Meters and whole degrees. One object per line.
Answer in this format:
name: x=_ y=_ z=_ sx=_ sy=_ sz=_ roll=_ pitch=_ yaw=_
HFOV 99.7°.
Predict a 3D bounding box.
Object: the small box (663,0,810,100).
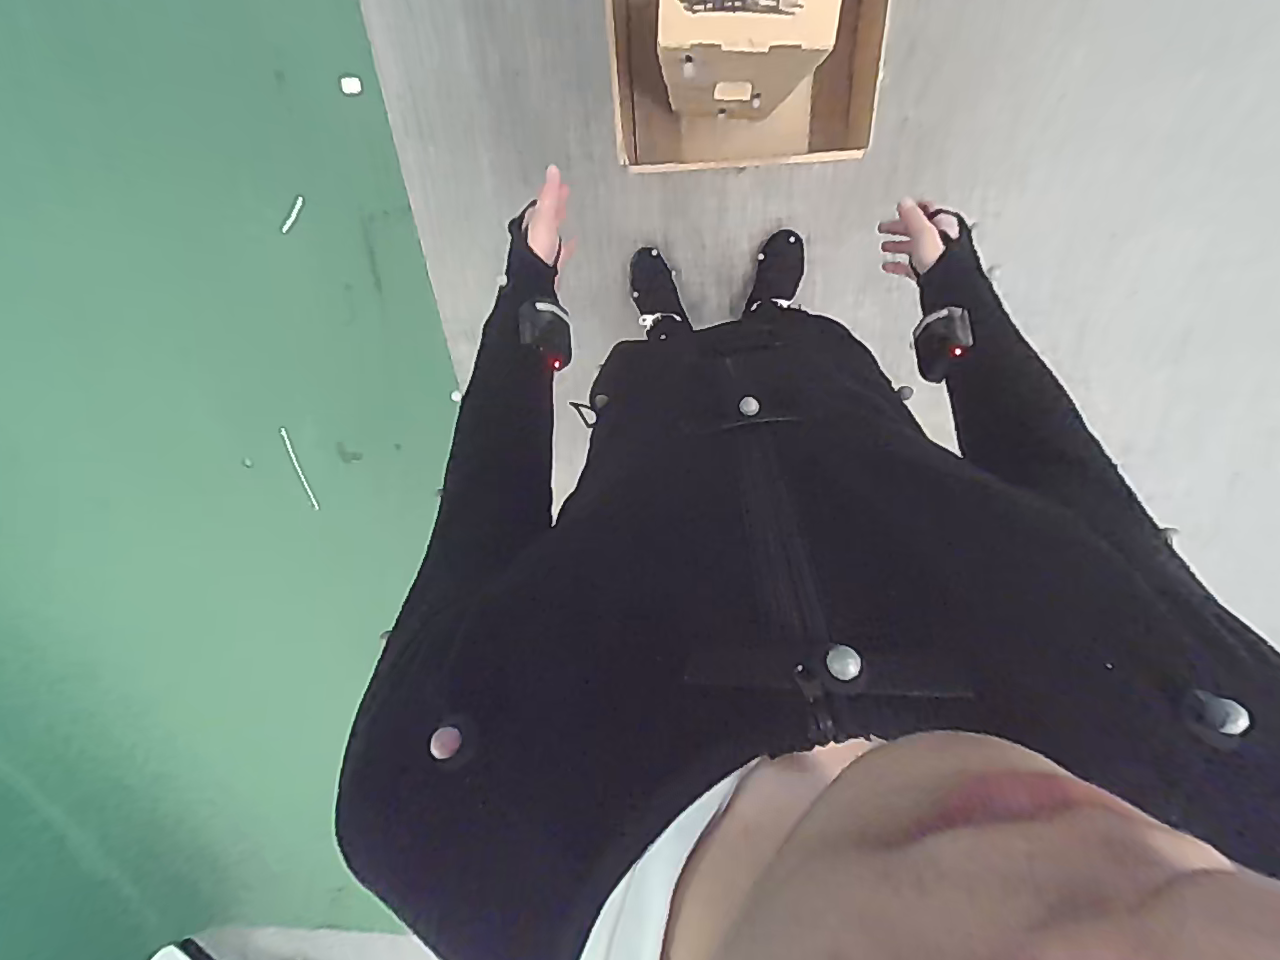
small box: x=0.120 y=-0.594 z=0.678 sx=0.168 sy=0.176 sz=0.179 roll=4 pitch=117 yaw=3
